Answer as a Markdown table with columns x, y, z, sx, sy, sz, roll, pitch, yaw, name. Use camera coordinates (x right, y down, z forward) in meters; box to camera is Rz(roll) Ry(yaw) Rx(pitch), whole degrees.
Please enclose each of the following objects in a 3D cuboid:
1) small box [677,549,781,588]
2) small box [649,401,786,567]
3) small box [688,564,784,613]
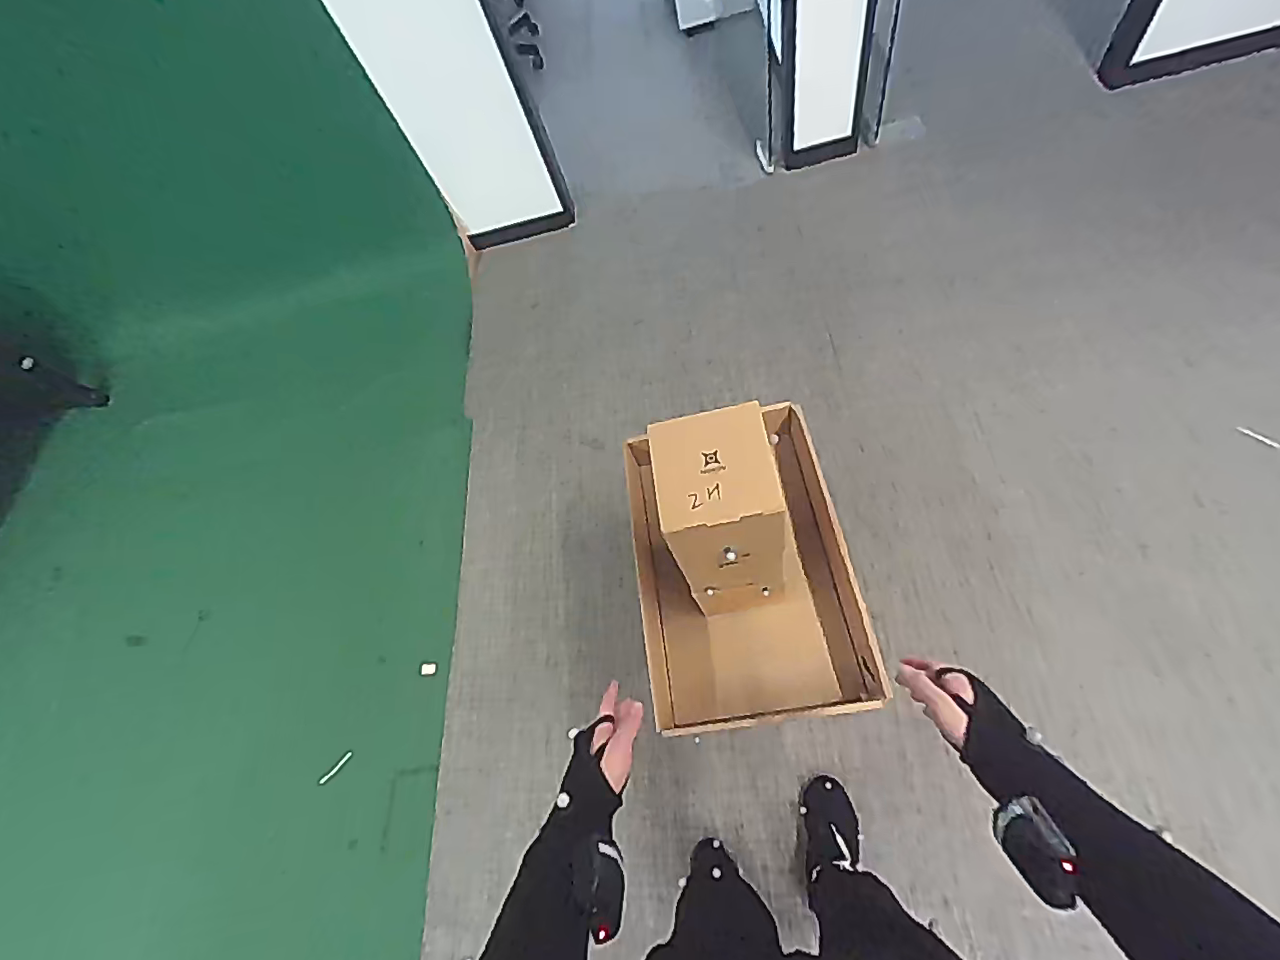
| x | y | z | sx | sy | sz | roll | pitch | yaw | name |
| --- | --- | --- | --- | --- | --- | --- | --- | --- | --- |
| 0.152 | 0.083 | 0.949 | 0.168 | 0.176 | 0.179 | -9 | 61 | 9 | small box |
| 0.115 | 0.012 | 0.805 | 0.168 | 0.176 | 0.179 | -11 | 62 | 9 | small box |
| 0.187 | 0.160 | 1.089 | 0.179 | 0.176 | 0.168 | -11 | 61 | 8 | small box |
